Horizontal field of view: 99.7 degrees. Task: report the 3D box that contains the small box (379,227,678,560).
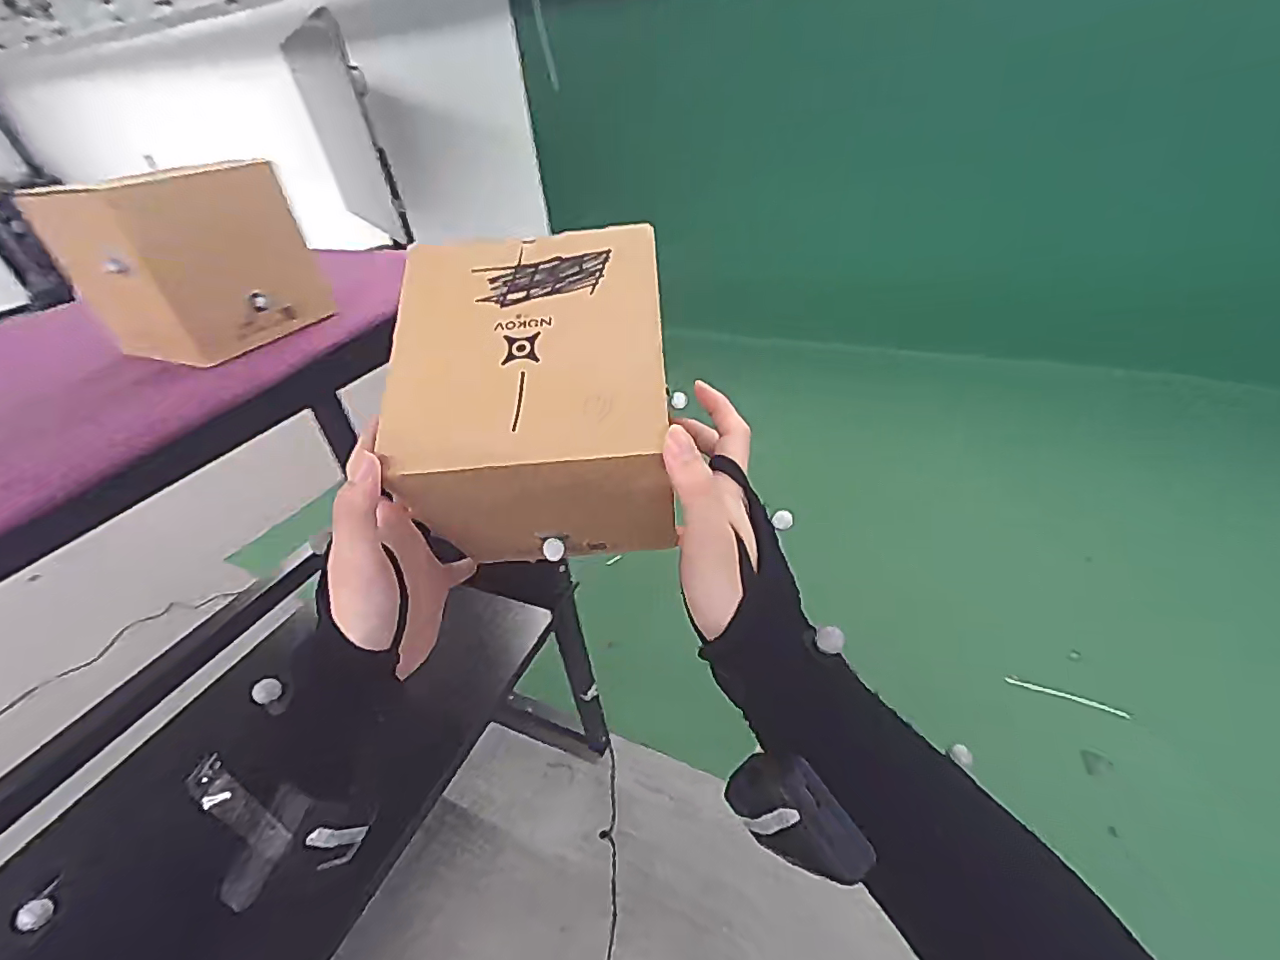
[{"bbox_3d":[-0.059,-0.052,0.399,0.168,0.176,0.179,-4,65,3],"label":"small box"}]
